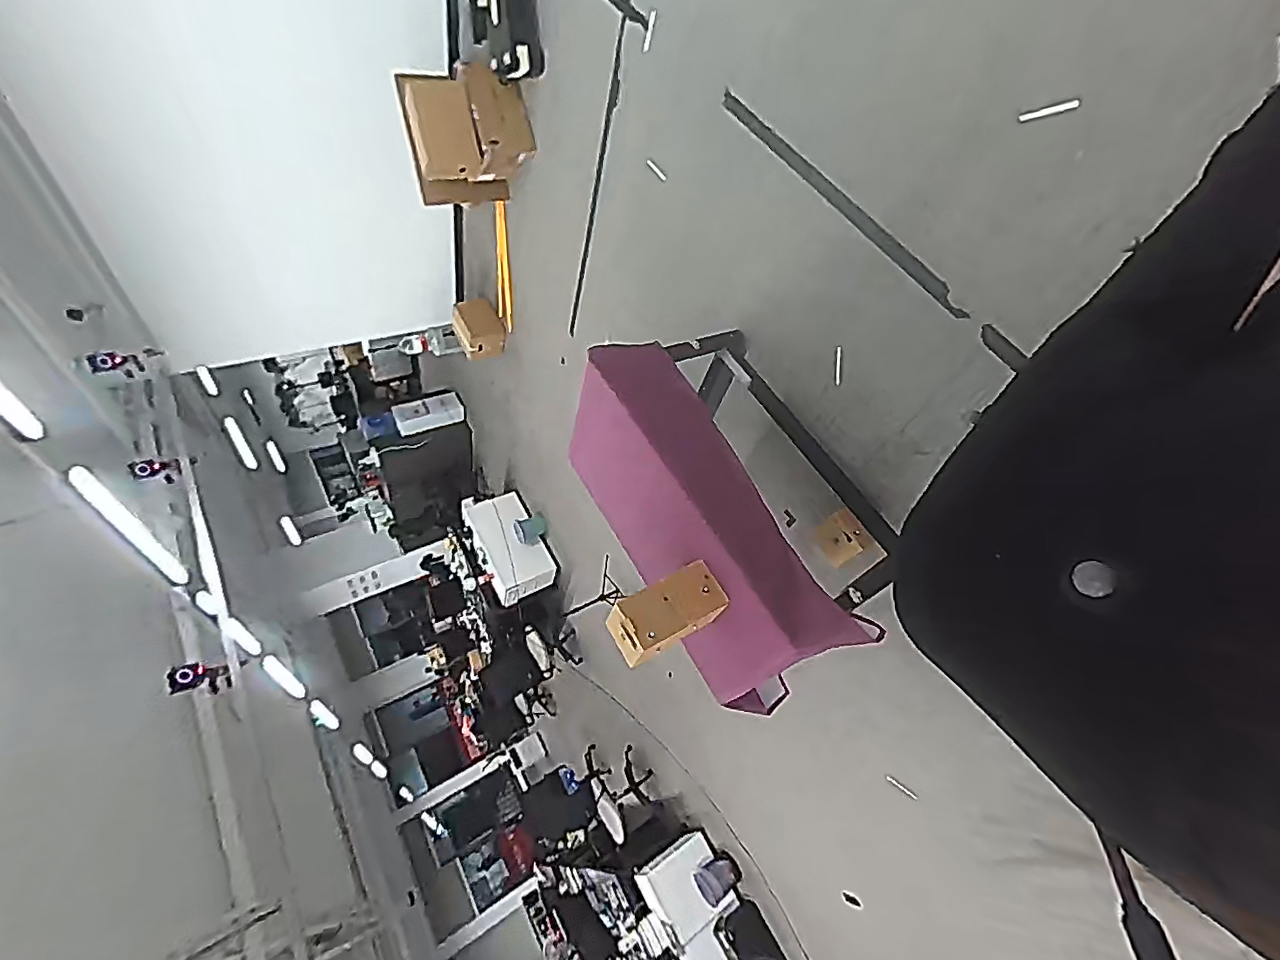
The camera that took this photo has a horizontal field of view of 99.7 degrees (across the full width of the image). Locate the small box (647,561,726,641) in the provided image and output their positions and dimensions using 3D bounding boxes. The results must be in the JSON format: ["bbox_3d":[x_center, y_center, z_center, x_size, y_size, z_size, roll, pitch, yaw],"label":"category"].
[{"bbox_3d":[0.152,0.390,1.754,0.168,0.176,0.179,56,149,23],"label":"small box"}]
